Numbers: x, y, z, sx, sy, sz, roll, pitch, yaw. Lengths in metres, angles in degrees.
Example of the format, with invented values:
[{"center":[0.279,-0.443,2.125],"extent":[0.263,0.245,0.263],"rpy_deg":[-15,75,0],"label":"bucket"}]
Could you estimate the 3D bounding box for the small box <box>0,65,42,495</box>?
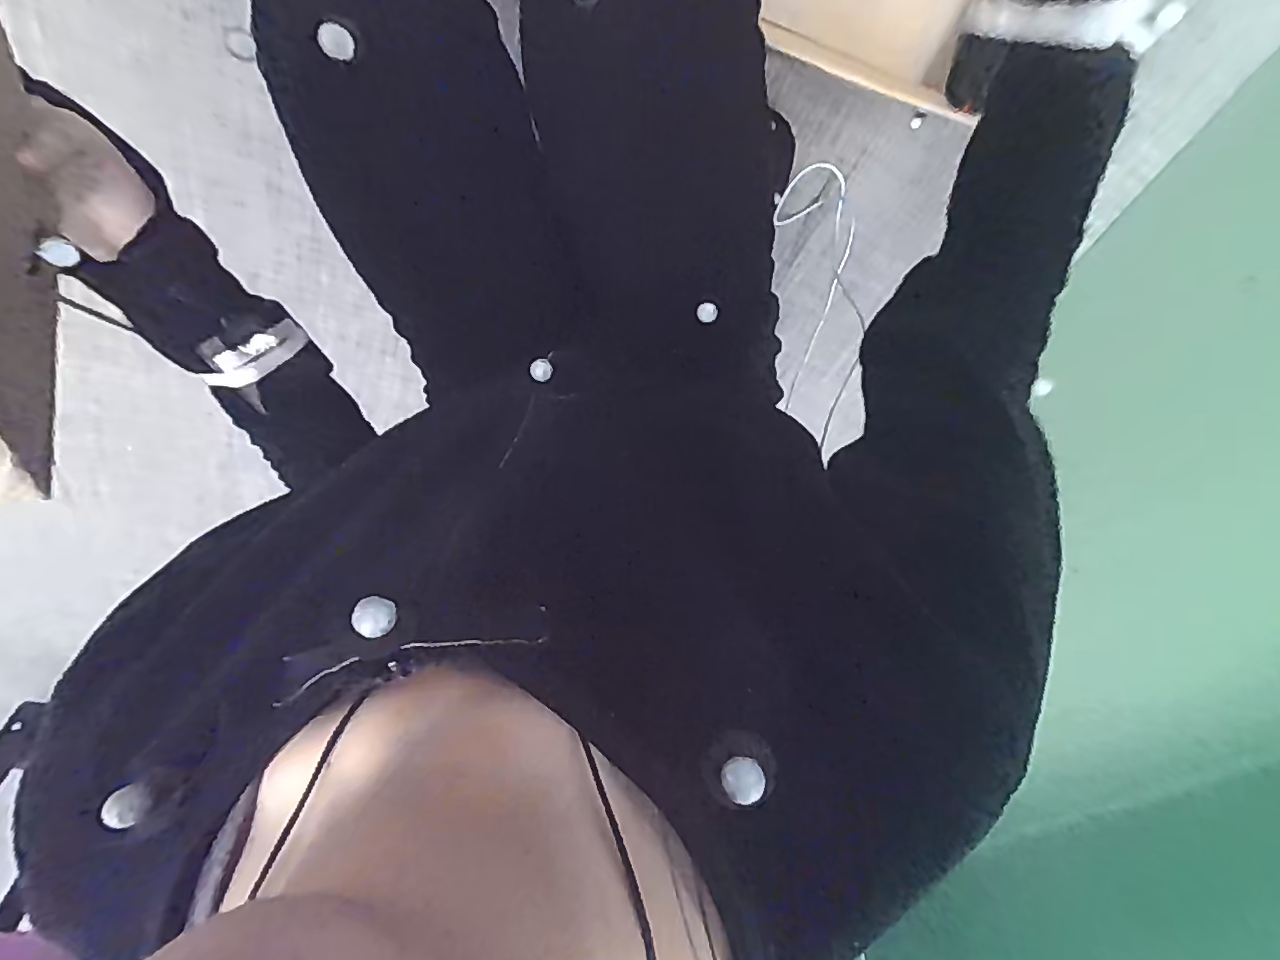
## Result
[{"center":[-0.289,-0.102,0.134],"extent":[0.168,0.179,0.176],"rpy_deg":[-4,157,-37],"label":"small box"}]
